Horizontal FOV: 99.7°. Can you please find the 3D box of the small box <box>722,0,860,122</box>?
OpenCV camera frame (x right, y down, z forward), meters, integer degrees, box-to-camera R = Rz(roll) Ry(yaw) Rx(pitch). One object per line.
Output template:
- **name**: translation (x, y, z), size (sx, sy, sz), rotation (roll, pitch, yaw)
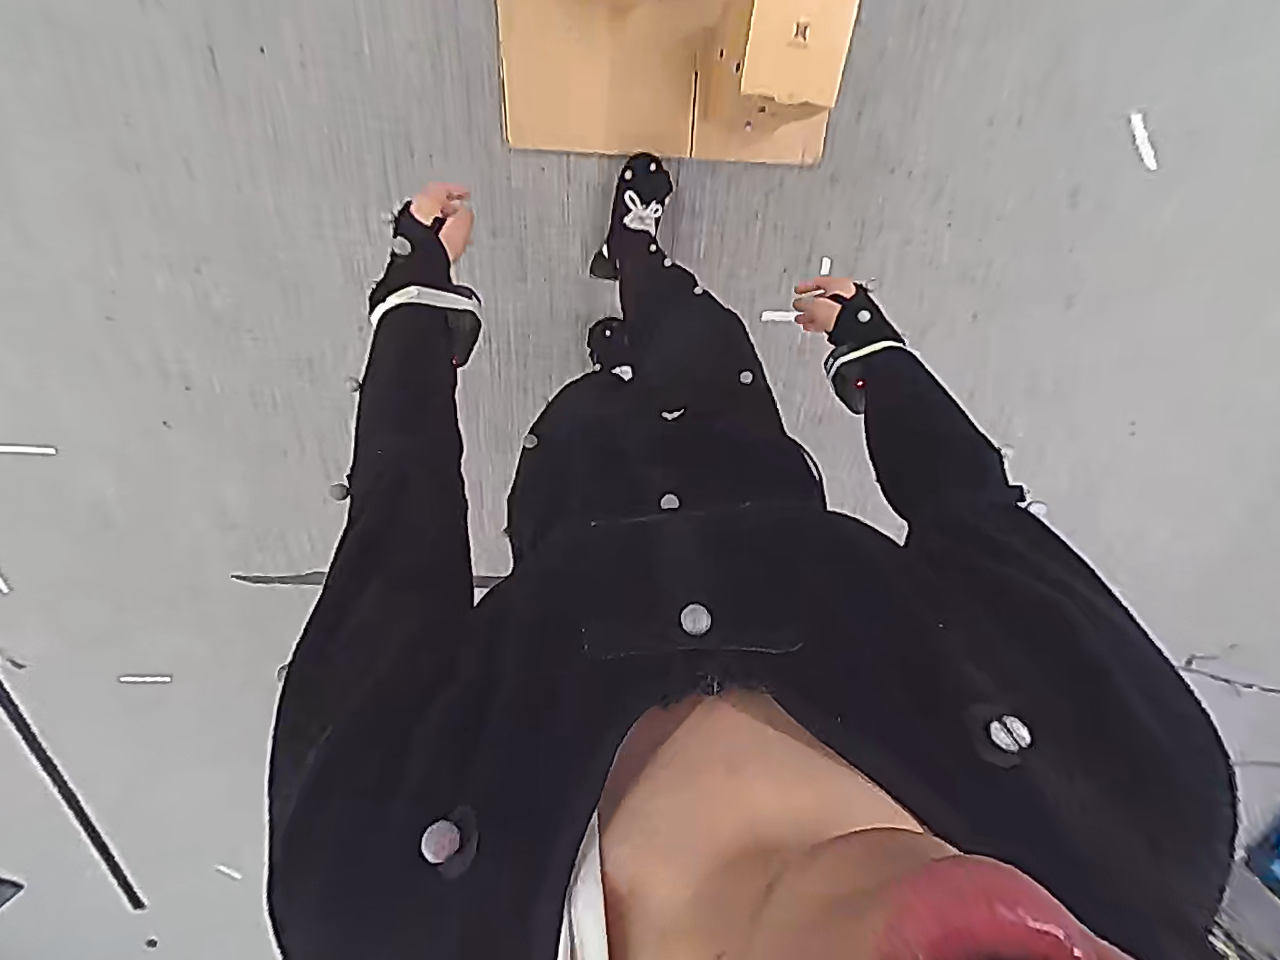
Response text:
- **small box**: translation (0.245, -0.733, 0.919), size (0.168, 0.176, 0.179), rotation (4, 117, -6)
